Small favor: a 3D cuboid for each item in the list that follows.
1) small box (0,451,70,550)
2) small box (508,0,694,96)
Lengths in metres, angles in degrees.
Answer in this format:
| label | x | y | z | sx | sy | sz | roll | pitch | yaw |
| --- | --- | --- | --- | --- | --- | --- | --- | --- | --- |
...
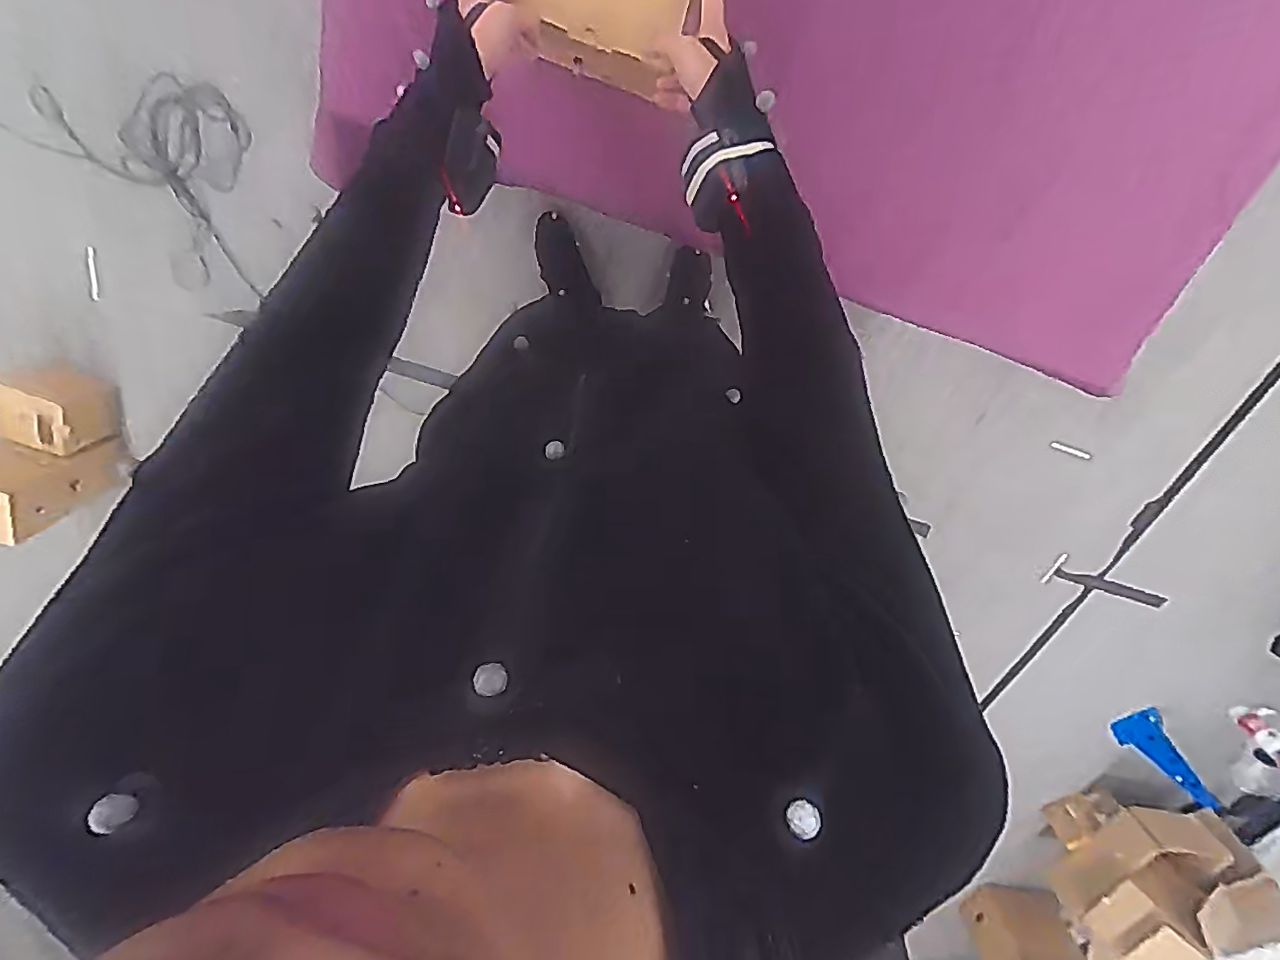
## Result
| label | x | y | z | sx | sy | sz | roll | pitch | yaw |
| --- | --- | --- | --- | --- | --- | --- | --- | --- | --- |
| small box | -1.666 | 0.048 | 1.423 | 0.168 | 0.176 | 0.179 | 21 | 117 | -12 |
| small box | -0.027 | -0.523 | 0.544 | 0.168 | 0.176 | 0.179 | 13 | 117 | -12 |
